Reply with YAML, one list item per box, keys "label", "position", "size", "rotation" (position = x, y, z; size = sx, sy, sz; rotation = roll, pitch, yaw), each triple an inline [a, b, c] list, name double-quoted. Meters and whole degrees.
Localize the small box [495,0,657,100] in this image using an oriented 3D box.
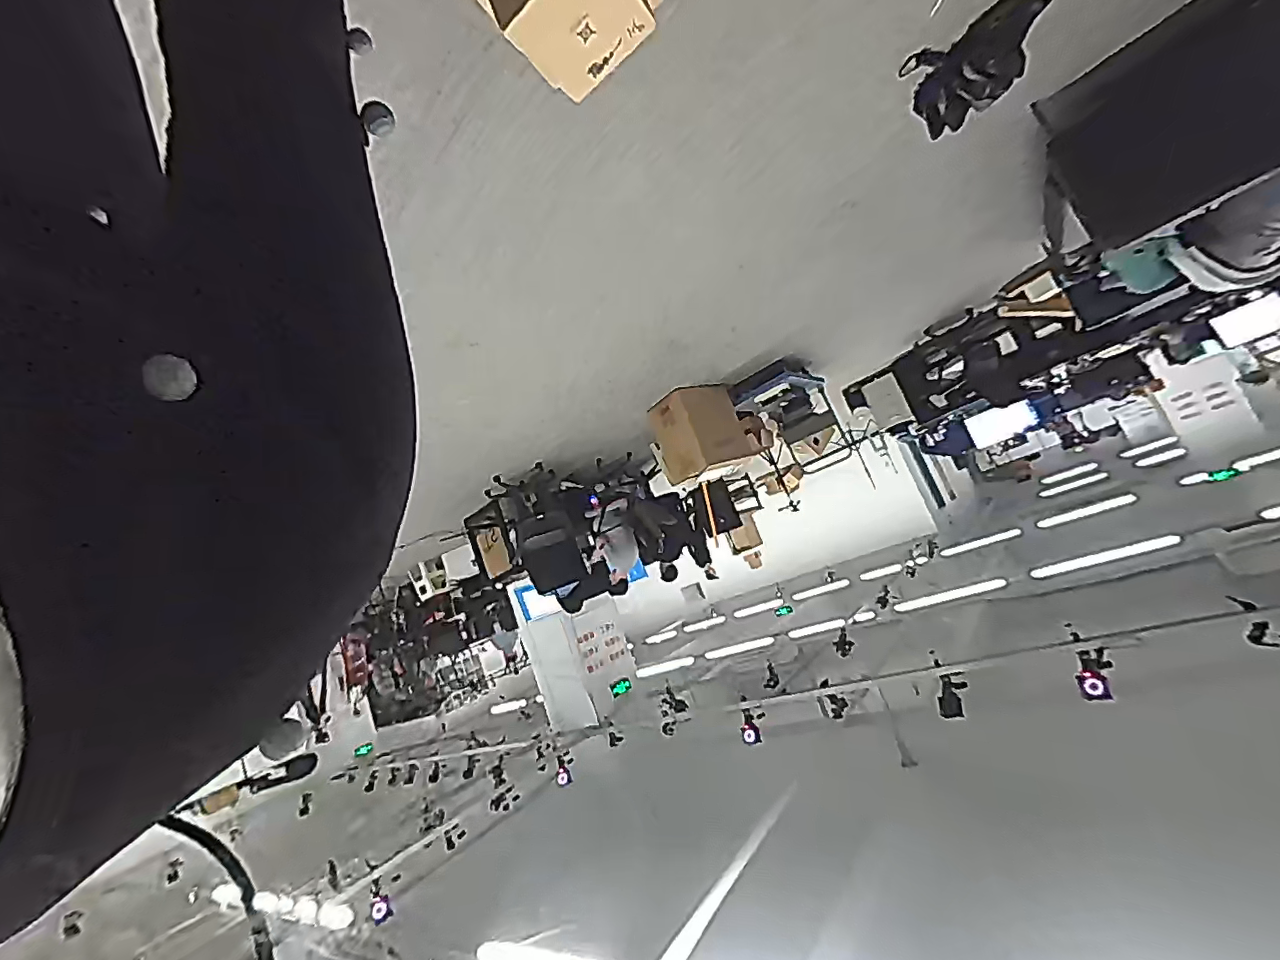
- label: "small box"
  position: [-0.108, -0.709, 0.767]
  size: [0.168, 0.176, 0.179]
  rotation: [-25, 169, 28]
